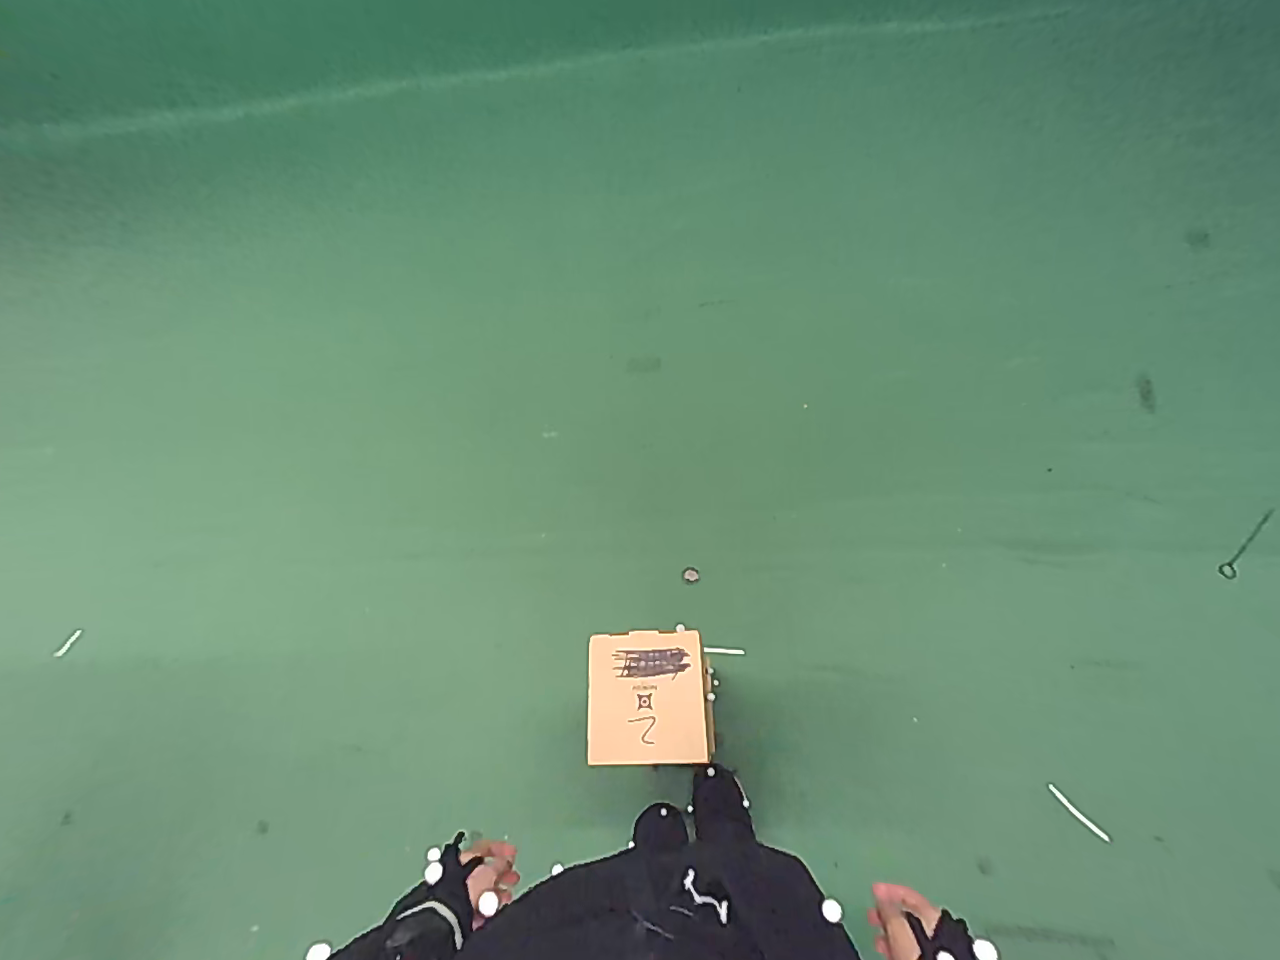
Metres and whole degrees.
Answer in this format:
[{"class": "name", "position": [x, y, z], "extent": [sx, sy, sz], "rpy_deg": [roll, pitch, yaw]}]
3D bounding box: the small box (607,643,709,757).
[{"class": "small box", "position": [0.037, 0.401, 0.982], "extent": [0.168, 0.176, 0.179], "rpy_deg": [-4, 64, 6]}]

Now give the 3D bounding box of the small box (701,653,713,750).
[{"class": "small box", "position": [0.065, 0.465, 1.129], "extent": [0.168, 0.176, 0.179], "rpy_deg": [-3, 65, 7]}]
